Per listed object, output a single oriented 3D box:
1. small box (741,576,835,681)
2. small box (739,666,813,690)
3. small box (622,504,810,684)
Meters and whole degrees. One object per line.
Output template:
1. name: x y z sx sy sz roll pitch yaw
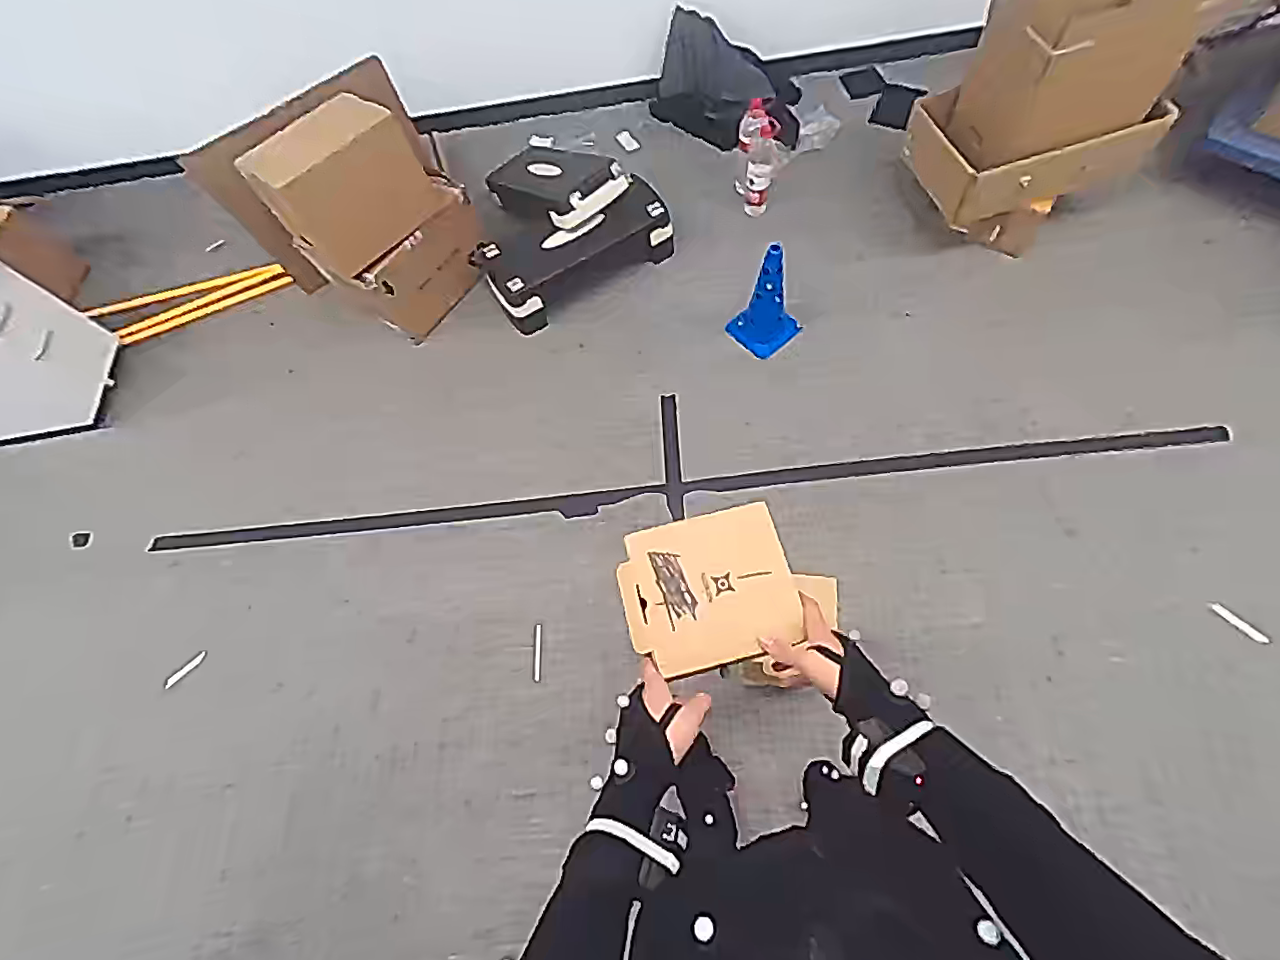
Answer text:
1. small box: 0.291 0.299 1.090 0.168 0.176 0.179 5 67 9
2. small box: 0.340 0.442 1.383 0.168 0.176 0.179 -1 66 6
3. small box: 0.083 0.151 0.676 0.179 0.176 0.168 -14 69 -5
